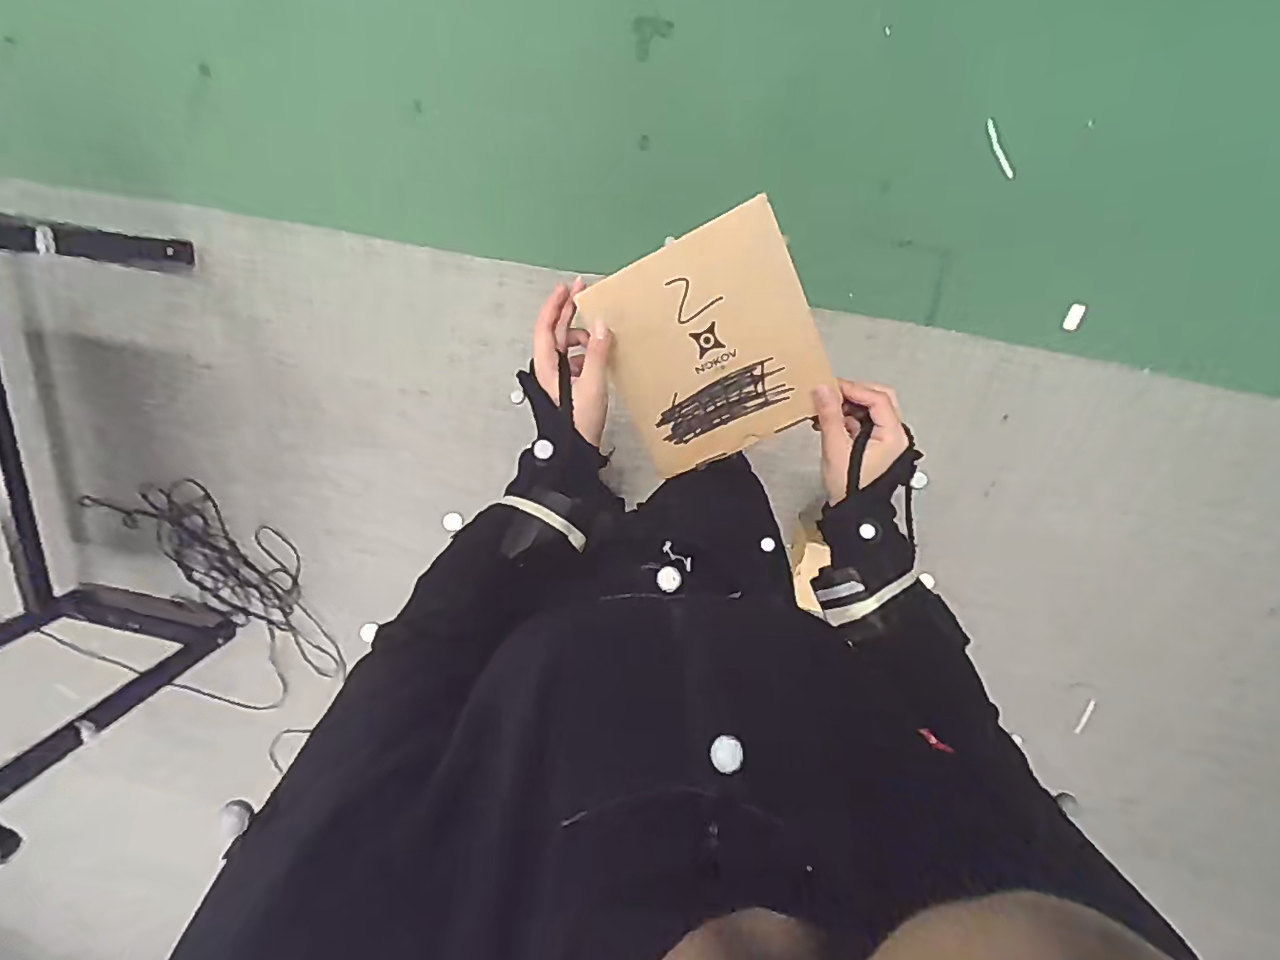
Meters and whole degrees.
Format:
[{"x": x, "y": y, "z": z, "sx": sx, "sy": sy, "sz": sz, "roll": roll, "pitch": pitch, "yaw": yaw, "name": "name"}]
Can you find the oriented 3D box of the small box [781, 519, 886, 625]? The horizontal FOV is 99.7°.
[{"x": 0.448, "y": 0.210, "z": 1.284, "sx": 0.179, "sy": 0.176, "sz": 0.168, "roll": 16, "pitch": 109, "yaw": 4, "name": "small box"}]
